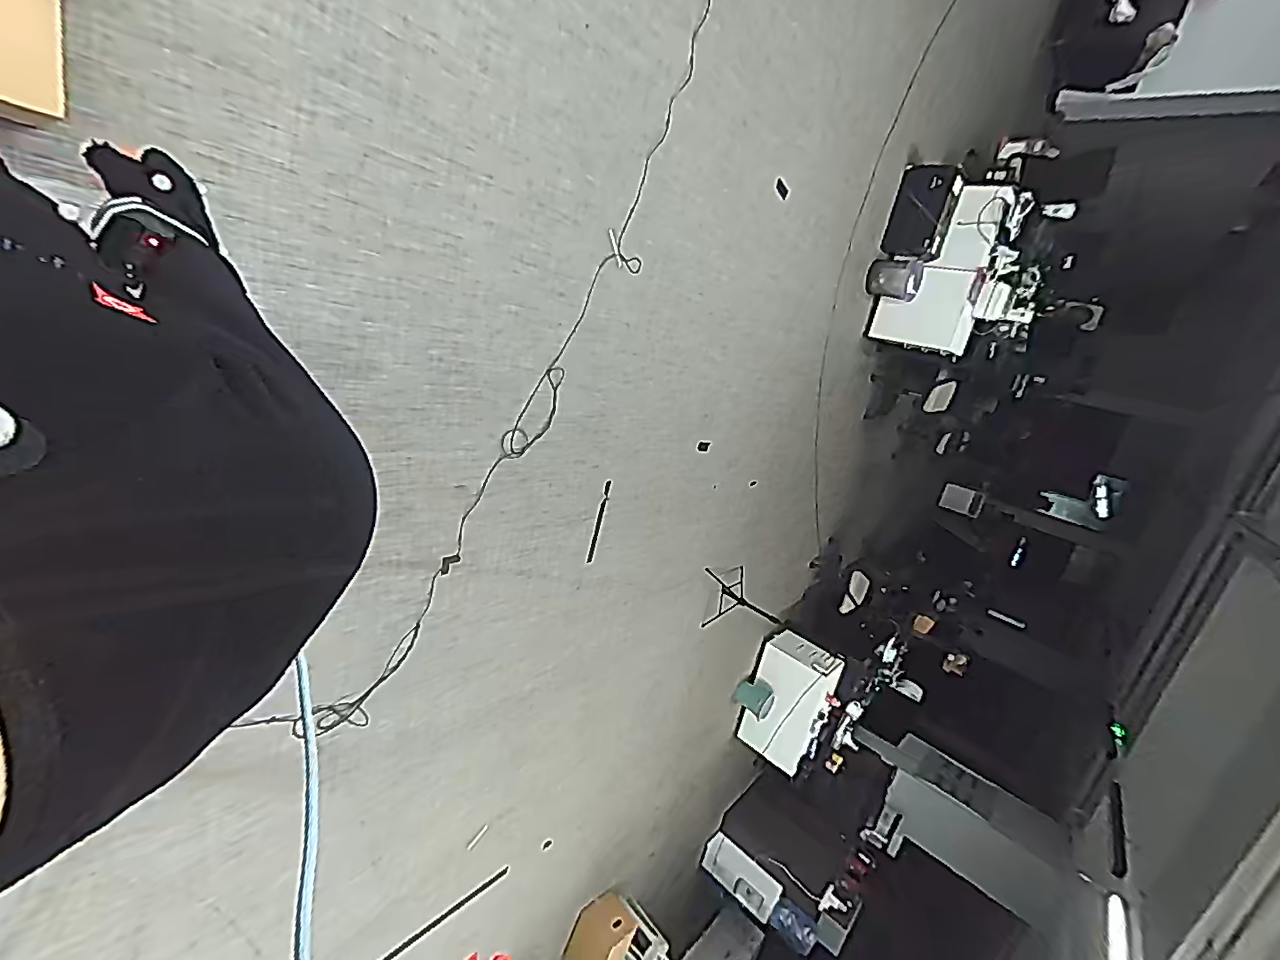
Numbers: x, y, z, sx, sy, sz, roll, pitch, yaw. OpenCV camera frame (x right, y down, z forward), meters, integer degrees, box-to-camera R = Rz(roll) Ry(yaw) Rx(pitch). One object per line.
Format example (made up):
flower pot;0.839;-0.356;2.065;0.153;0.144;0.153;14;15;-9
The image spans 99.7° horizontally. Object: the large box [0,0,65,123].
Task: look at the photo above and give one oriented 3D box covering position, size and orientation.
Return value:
large box;-1.011;-0.684;0.646;0.408;0.320;0.320;-7;116;-51
